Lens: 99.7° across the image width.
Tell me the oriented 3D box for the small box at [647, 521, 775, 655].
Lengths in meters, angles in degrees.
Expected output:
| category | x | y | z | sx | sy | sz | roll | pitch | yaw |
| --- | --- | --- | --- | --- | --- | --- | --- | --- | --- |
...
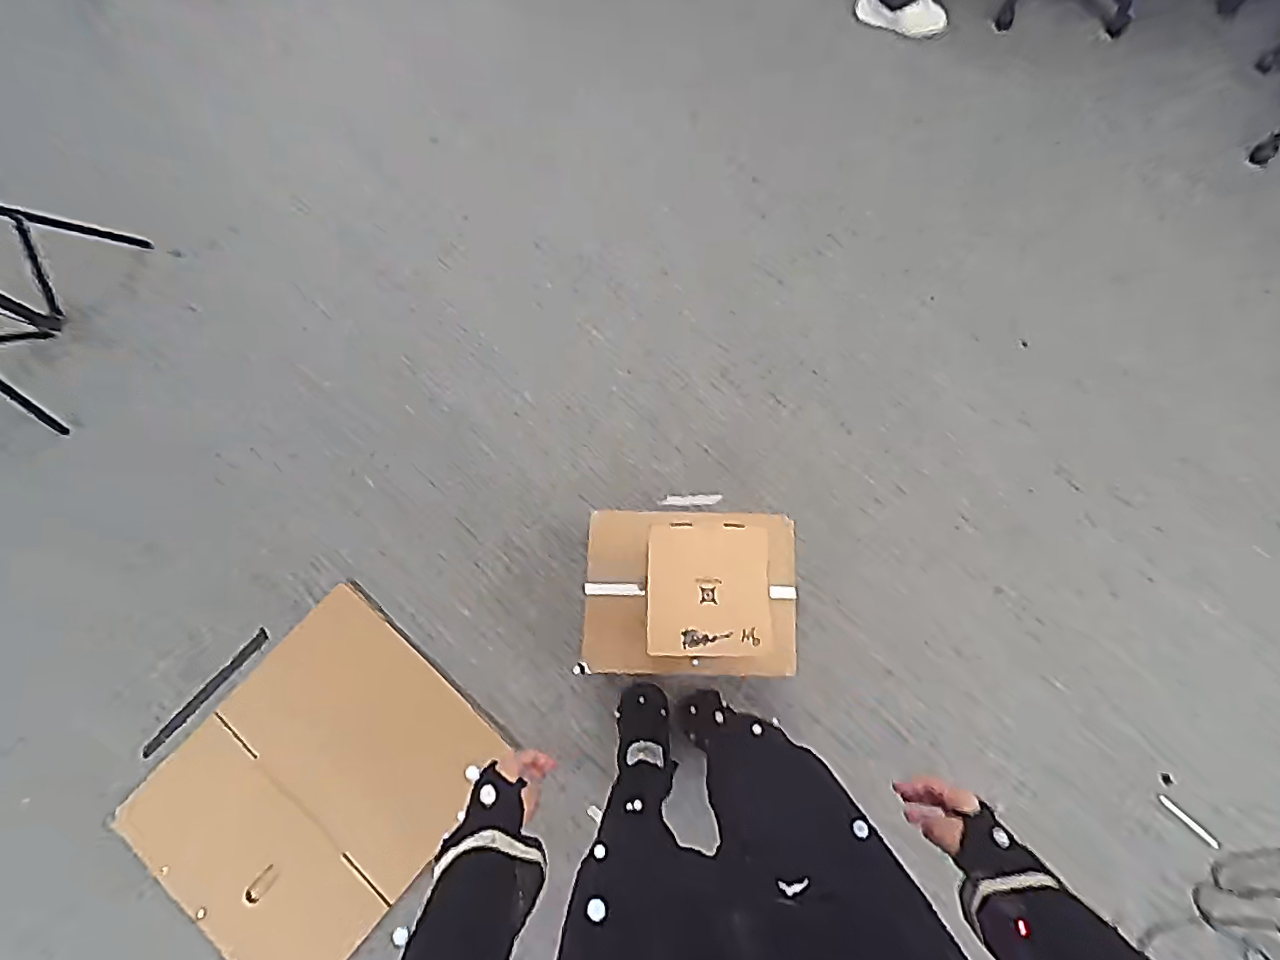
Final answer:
| category | x | y | z | sx | sy | sz | roll | pitch | yaw |
| --- | --- | --- | --- | --- | --- | --- | --- | --- | --- |
| small box | 0.095 | 0.163 | 0.798 | 0.168 | 0.176 | 0.179 | 1 | 75 | 1 |
